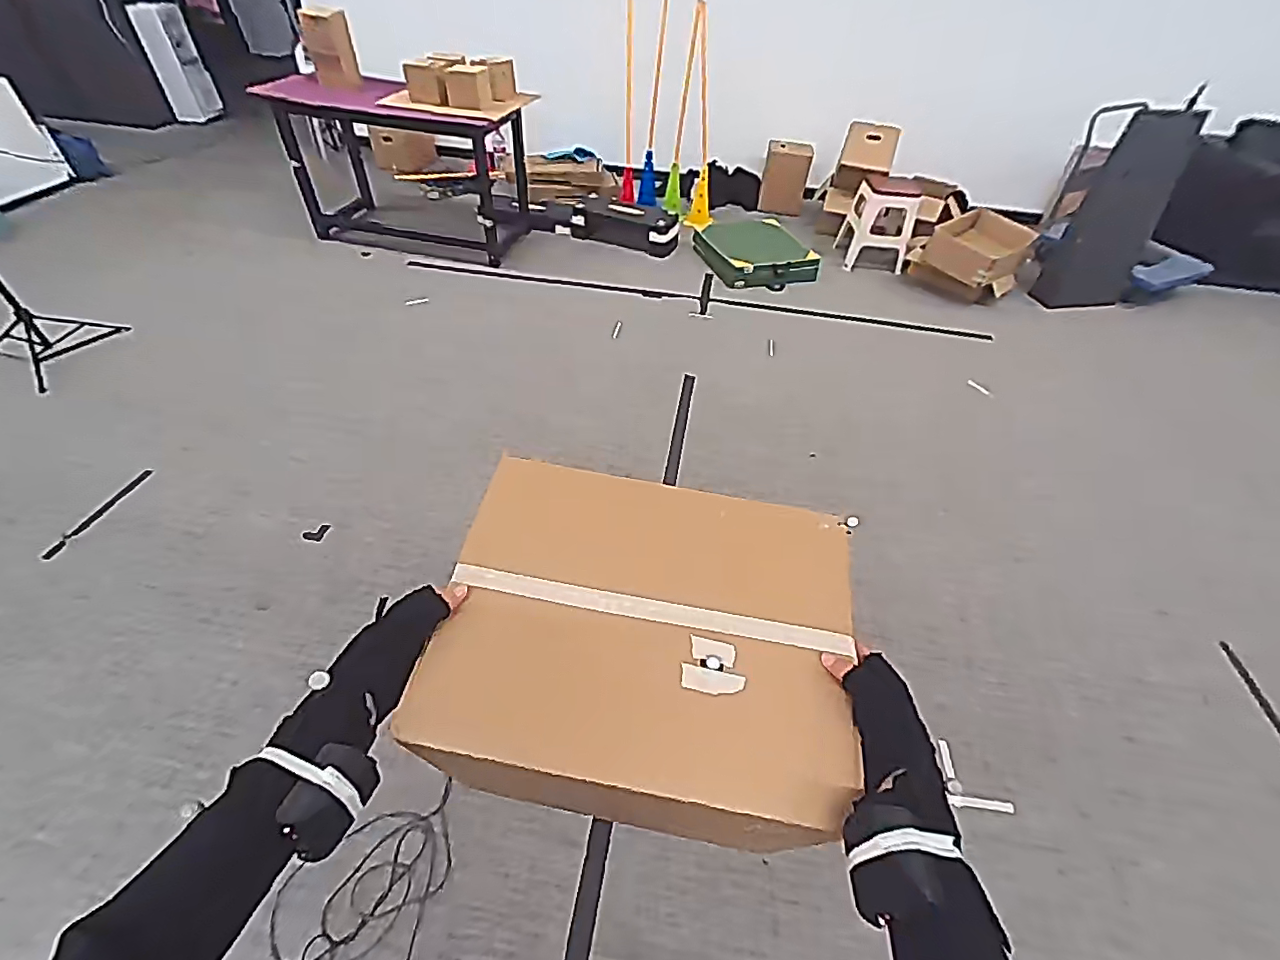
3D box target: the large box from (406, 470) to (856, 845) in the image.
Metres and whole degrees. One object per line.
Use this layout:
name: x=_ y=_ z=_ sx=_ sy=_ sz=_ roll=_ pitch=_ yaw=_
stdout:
large box: x=0.001 y=0.227 z=0.669 sx=0.408 sy=0.320 sz=0.320 roll=11 pitch=55 yaw=3
